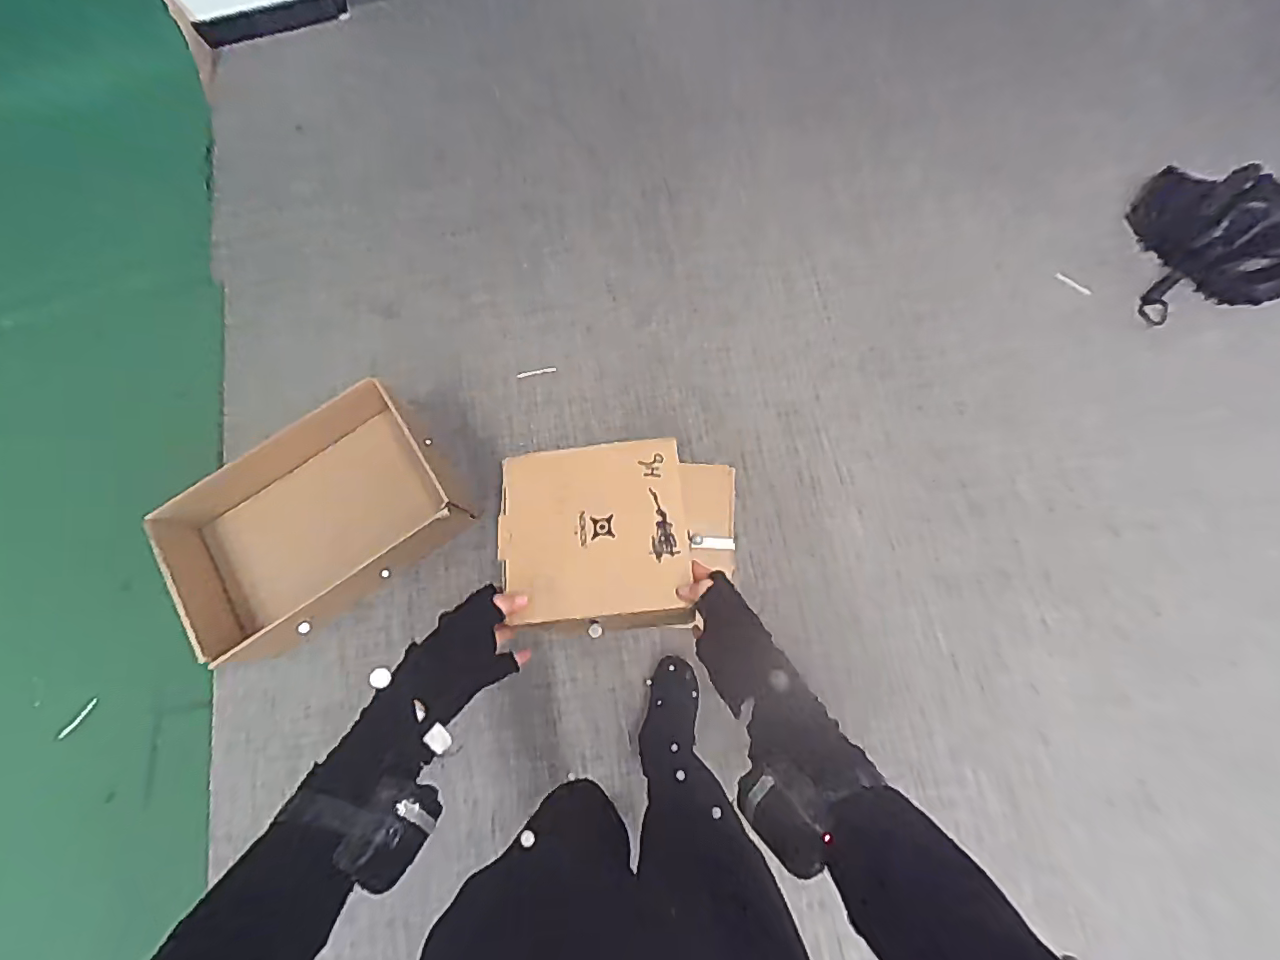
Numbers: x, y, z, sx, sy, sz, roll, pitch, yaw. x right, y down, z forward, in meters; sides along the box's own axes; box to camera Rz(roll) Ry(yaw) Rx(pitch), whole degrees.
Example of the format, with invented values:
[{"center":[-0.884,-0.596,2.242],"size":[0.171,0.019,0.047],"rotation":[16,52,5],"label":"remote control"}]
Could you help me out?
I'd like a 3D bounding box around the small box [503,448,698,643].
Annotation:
[{"center":[-0.036,0.082,0.587],"size":[0.179,0.176,0.168],"rotation":[-8,70,5],"label":"small box"}]
